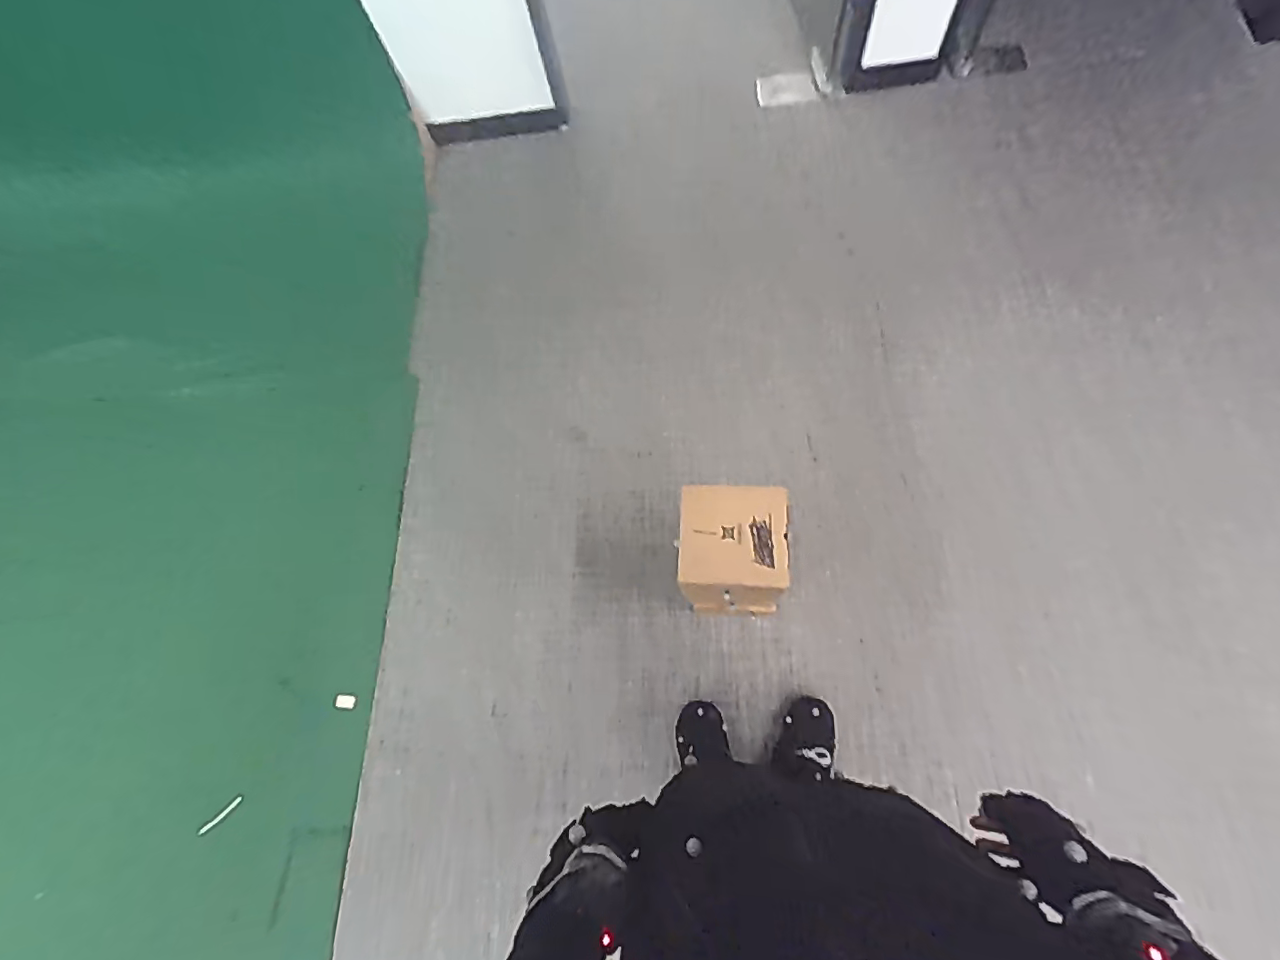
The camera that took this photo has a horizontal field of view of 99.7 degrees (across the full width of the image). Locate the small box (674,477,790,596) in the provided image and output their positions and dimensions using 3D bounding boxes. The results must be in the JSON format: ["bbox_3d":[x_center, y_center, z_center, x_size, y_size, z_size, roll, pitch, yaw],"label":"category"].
[{"bbox_3d":[0.160,0.104,0.947,0.179,0.176,0.168,5,71,9],"label":"small box"}]

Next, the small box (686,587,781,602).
[{"bbox_3d":[0.188,0.155,1.104,0.179,0.176,0.168,2,72,8],"label":"small box"}]
